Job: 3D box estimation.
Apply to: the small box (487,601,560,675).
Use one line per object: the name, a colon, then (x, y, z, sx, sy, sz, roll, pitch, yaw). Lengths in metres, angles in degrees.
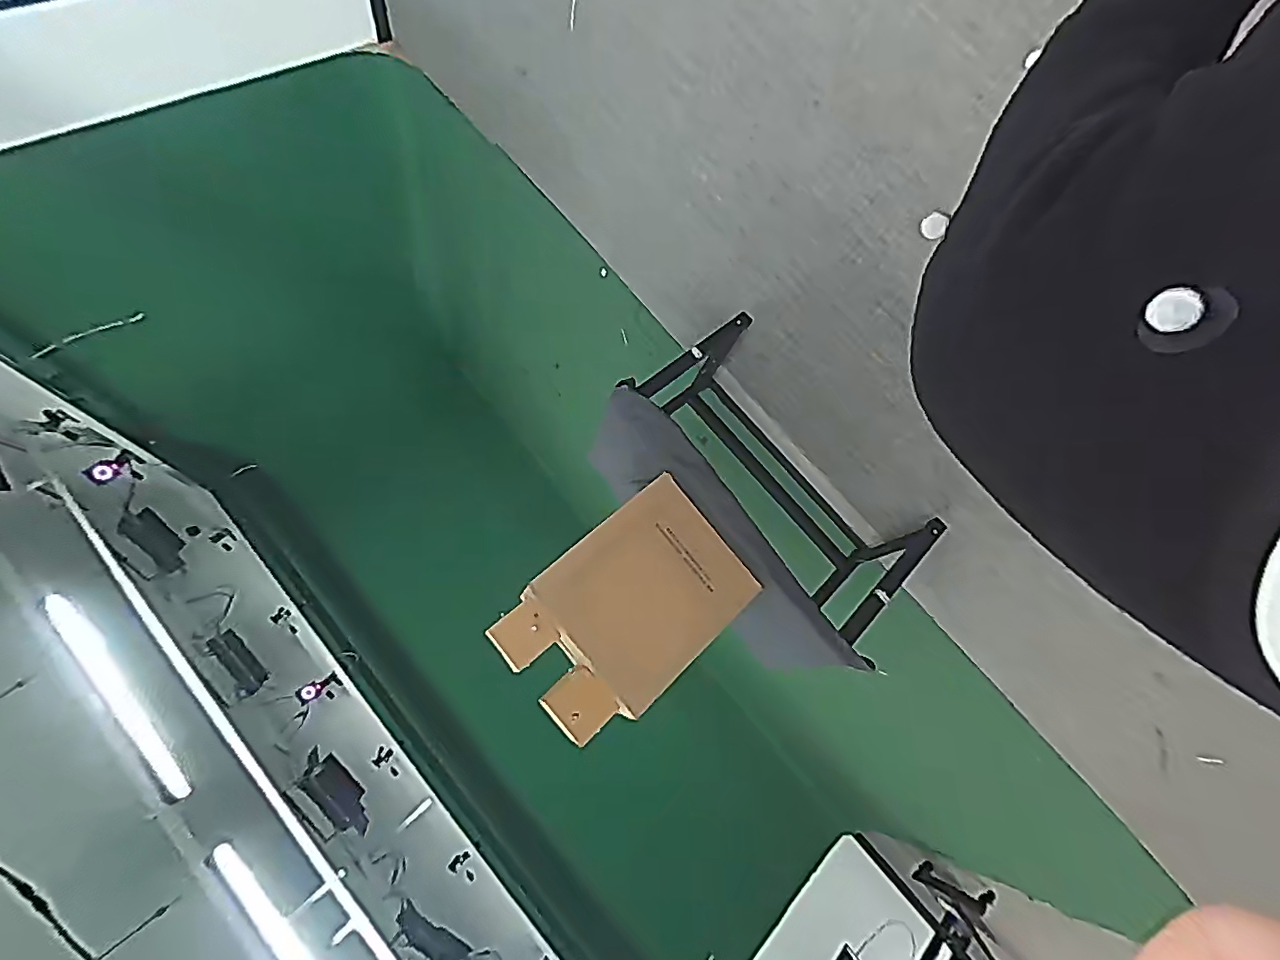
small box: (-0.383, 0.518, 1.779, 0.168, 0.176, 0.179, 51, 154, 3)

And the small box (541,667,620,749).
small box: (-0.192, 0.732, 1.752, 0.179, 0.176, 0.168, 51, 154, 3)
